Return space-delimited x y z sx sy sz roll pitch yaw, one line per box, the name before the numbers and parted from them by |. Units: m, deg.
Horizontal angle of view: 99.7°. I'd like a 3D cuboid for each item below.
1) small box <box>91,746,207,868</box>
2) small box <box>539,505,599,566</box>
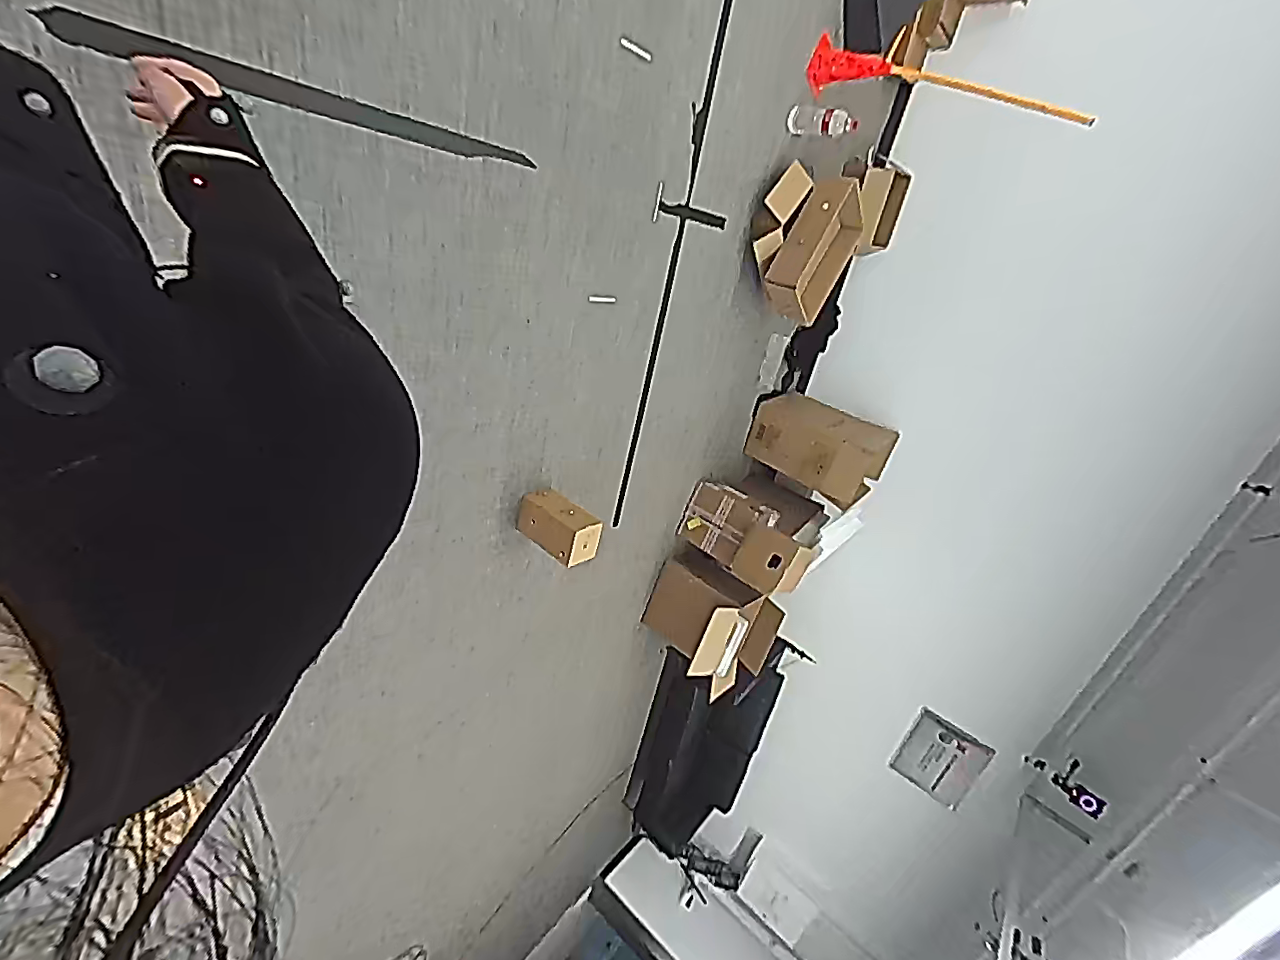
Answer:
small box | -1.239 0.812 1.366 0.168 0.176 0.179 -23 134 -46
small box | -0.304 0.226 2.262 0.168 0.176 0.179 -15 127 -52
